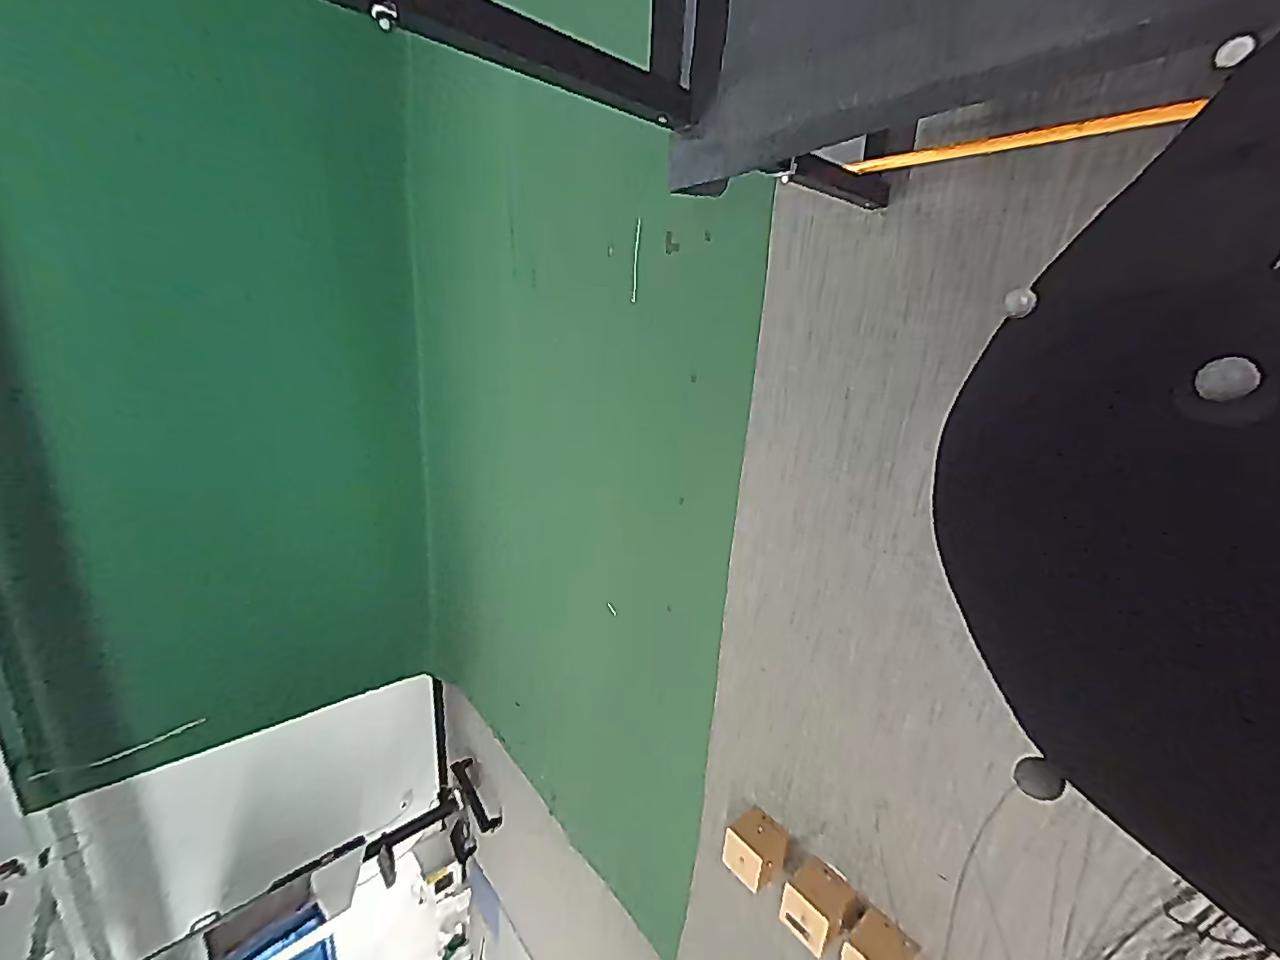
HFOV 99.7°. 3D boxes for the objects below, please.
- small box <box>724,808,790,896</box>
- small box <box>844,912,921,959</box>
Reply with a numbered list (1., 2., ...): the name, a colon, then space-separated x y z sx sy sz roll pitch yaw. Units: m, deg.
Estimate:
1. small box: 0.442 1.384 2.027 0.168 0.176 0.179 23 115 47
2. small box: 0.749 1.511 1.679 0.168 0.176 0.179 21 114 46
